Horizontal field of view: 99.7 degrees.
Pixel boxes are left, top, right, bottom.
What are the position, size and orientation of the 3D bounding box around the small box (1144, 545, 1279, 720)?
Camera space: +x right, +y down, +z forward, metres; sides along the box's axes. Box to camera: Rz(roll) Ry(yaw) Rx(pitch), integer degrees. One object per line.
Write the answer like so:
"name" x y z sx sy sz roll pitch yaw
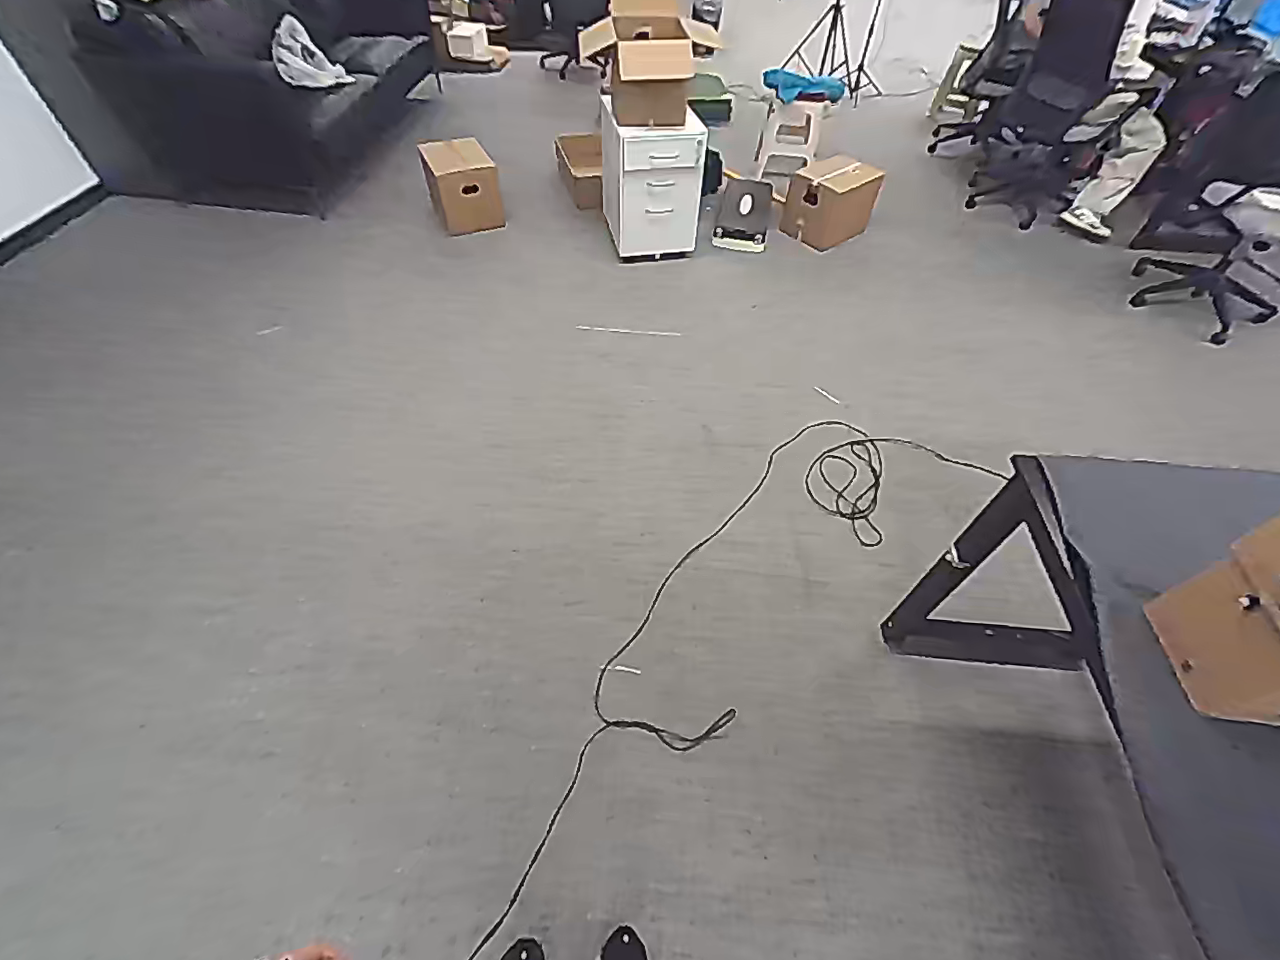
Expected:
"small box" 0.850 0.208 0.717 0.179 0.176 0.168 6 51 1
